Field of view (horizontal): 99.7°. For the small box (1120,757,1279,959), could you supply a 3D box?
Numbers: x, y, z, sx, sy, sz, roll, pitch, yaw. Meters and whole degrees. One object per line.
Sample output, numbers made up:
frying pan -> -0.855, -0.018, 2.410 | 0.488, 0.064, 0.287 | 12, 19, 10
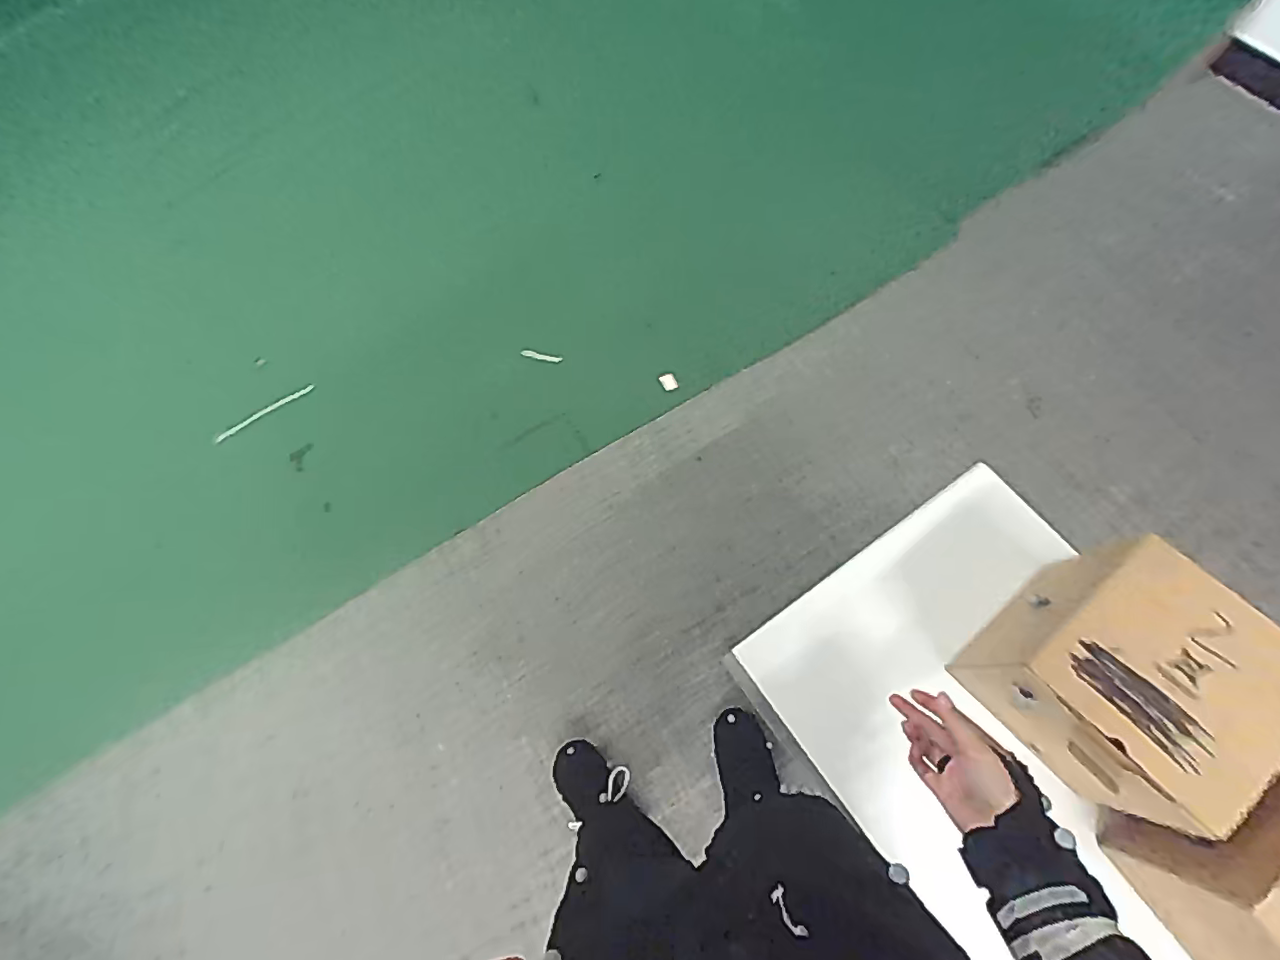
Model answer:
small box -> 0.557, 0.357, 0.440 | 0.179, 0.176, 0.168 | -33, 70, -5
